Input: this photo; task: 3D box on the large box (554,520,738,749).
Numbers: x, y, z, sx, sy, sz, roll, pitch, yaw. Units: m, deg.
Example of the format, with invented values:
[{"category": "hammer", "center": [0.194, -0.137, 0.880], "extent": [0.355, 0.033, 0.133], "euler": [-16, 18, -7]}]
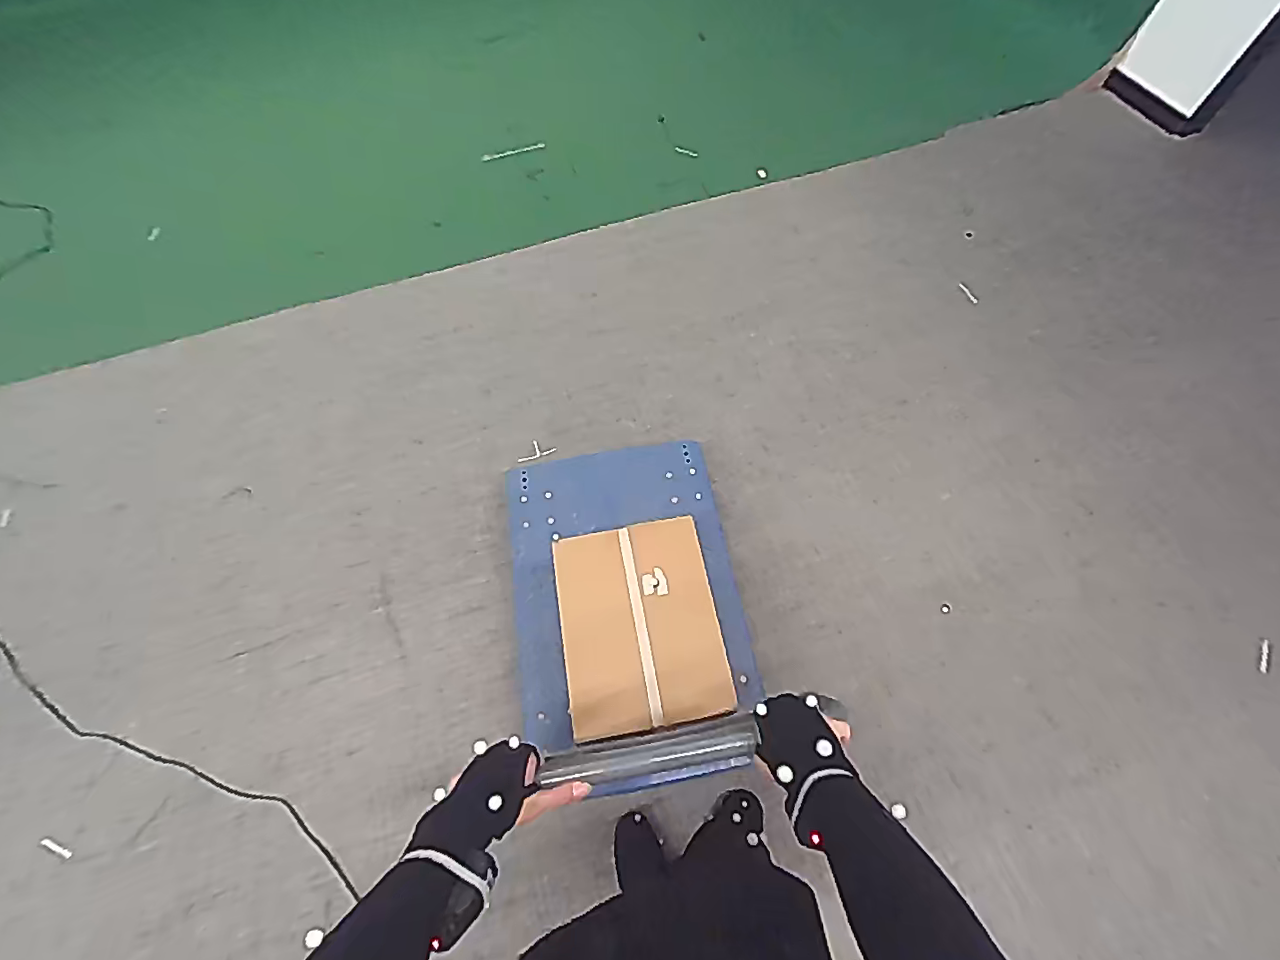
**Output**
[{"category": "large box", "center": [0.005, 0.355, 1.218], "extent": [0.320, 0.320, 0.408], "euler": [-9, 62, -4]}]
